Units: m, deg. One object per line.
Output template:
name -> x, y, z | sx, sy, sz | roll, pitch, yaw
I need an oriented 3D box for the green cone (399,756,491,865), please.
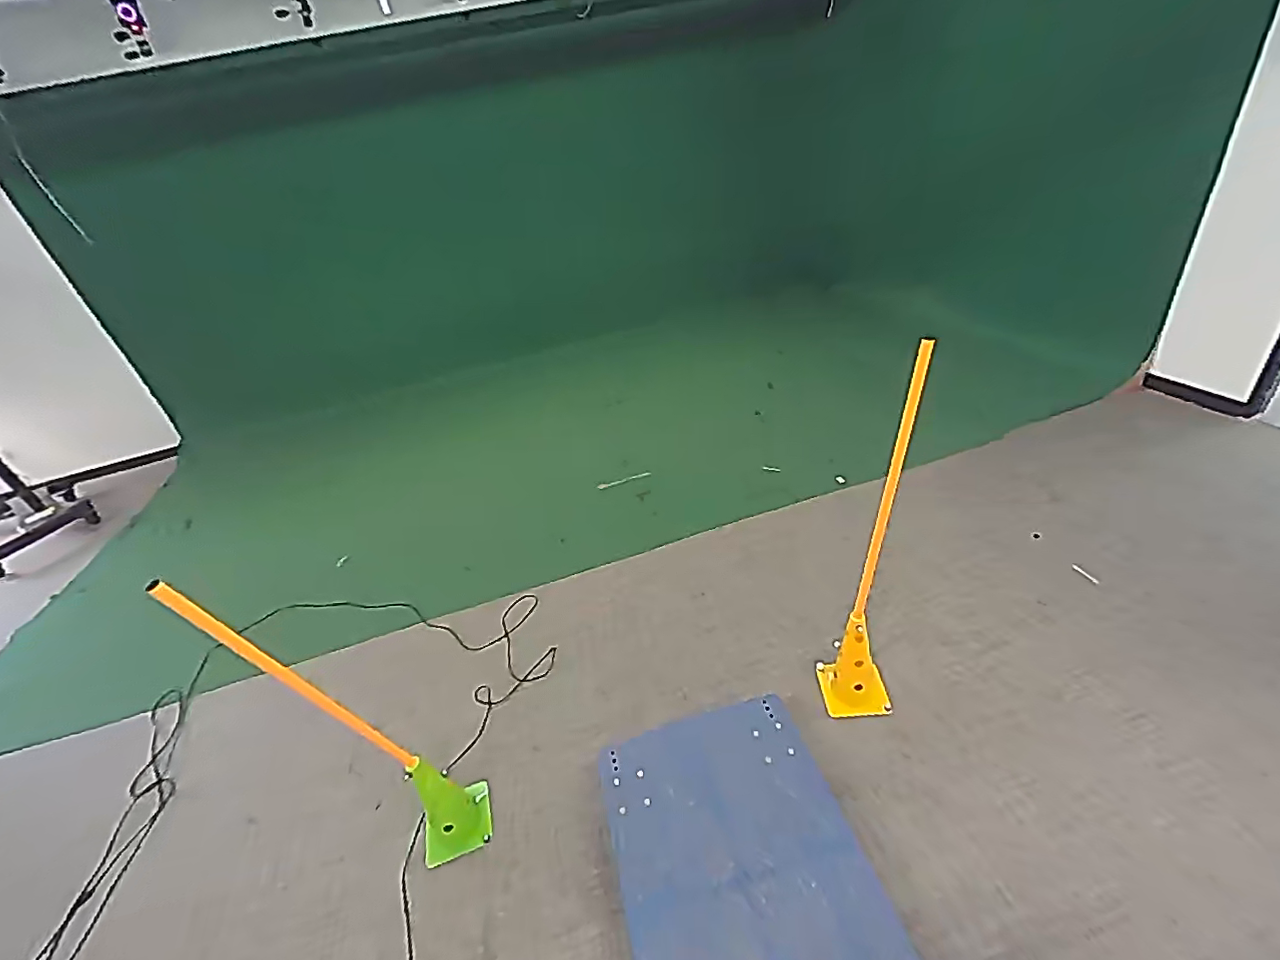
green cone -> -0.600, 0.911, 1.577 | 0.202, 0.368, 0.200 | -20, 34, -9
